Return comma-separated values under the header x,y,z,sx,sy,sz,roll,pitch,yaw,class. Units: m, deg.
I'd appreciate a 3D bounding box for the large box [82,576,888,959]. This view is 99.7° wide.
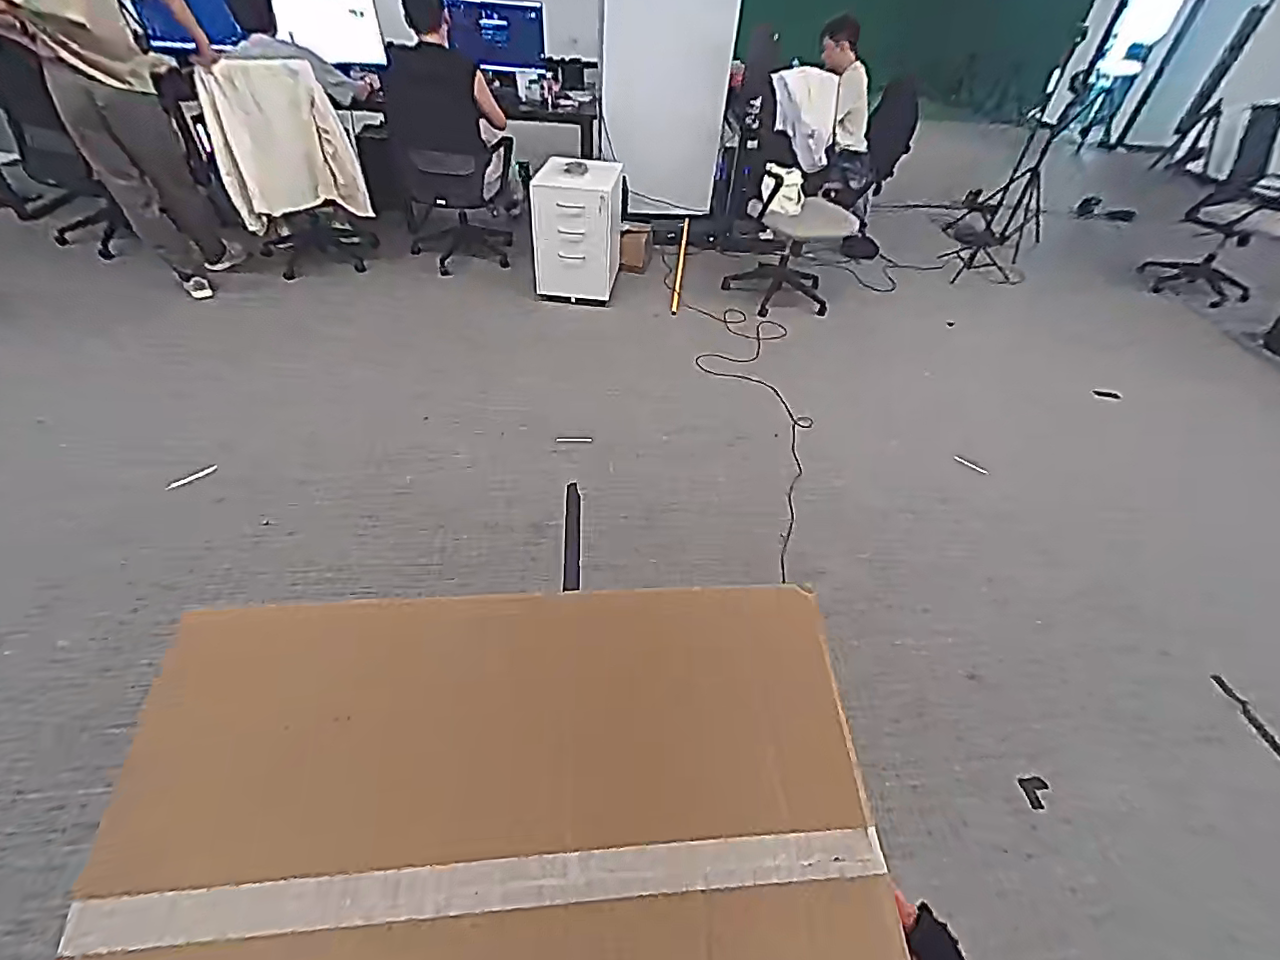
x,y,z,sx,sy,sz,roll,pitch,yaw,class
-0.083,0.285,0.418,0.408,0.320,0.320,-1,59,-6,large box
